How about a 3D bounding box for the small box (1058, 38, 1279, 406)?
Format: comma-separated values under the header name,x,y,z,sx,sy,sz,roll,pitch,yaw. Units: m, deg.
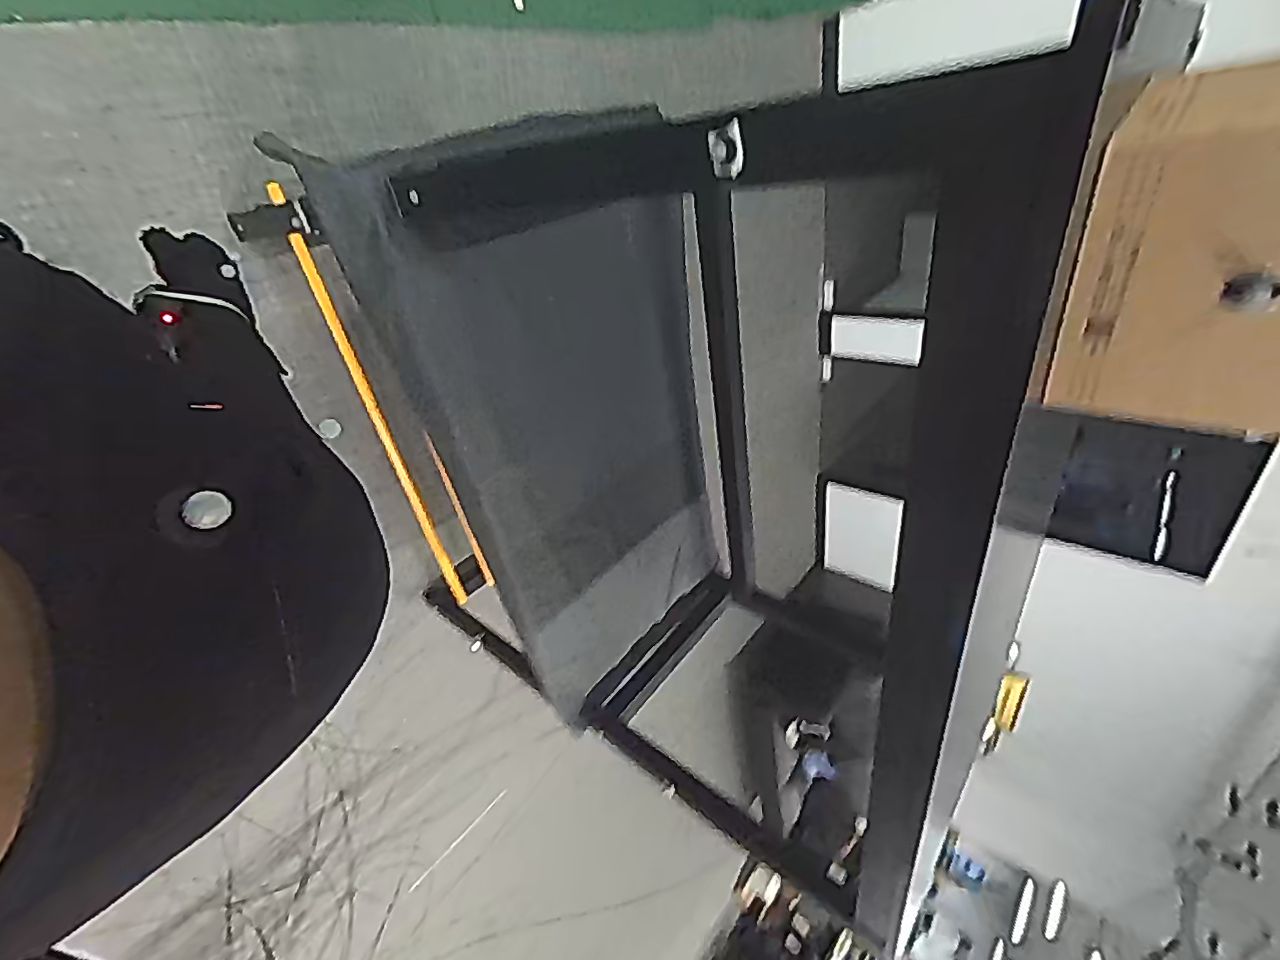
name,x,y,z,sx,sy,sz,roll,pitch,yaw
small box,0.377,-0.152,0.317,0.179,0.176,0.168,-42,134,-31
